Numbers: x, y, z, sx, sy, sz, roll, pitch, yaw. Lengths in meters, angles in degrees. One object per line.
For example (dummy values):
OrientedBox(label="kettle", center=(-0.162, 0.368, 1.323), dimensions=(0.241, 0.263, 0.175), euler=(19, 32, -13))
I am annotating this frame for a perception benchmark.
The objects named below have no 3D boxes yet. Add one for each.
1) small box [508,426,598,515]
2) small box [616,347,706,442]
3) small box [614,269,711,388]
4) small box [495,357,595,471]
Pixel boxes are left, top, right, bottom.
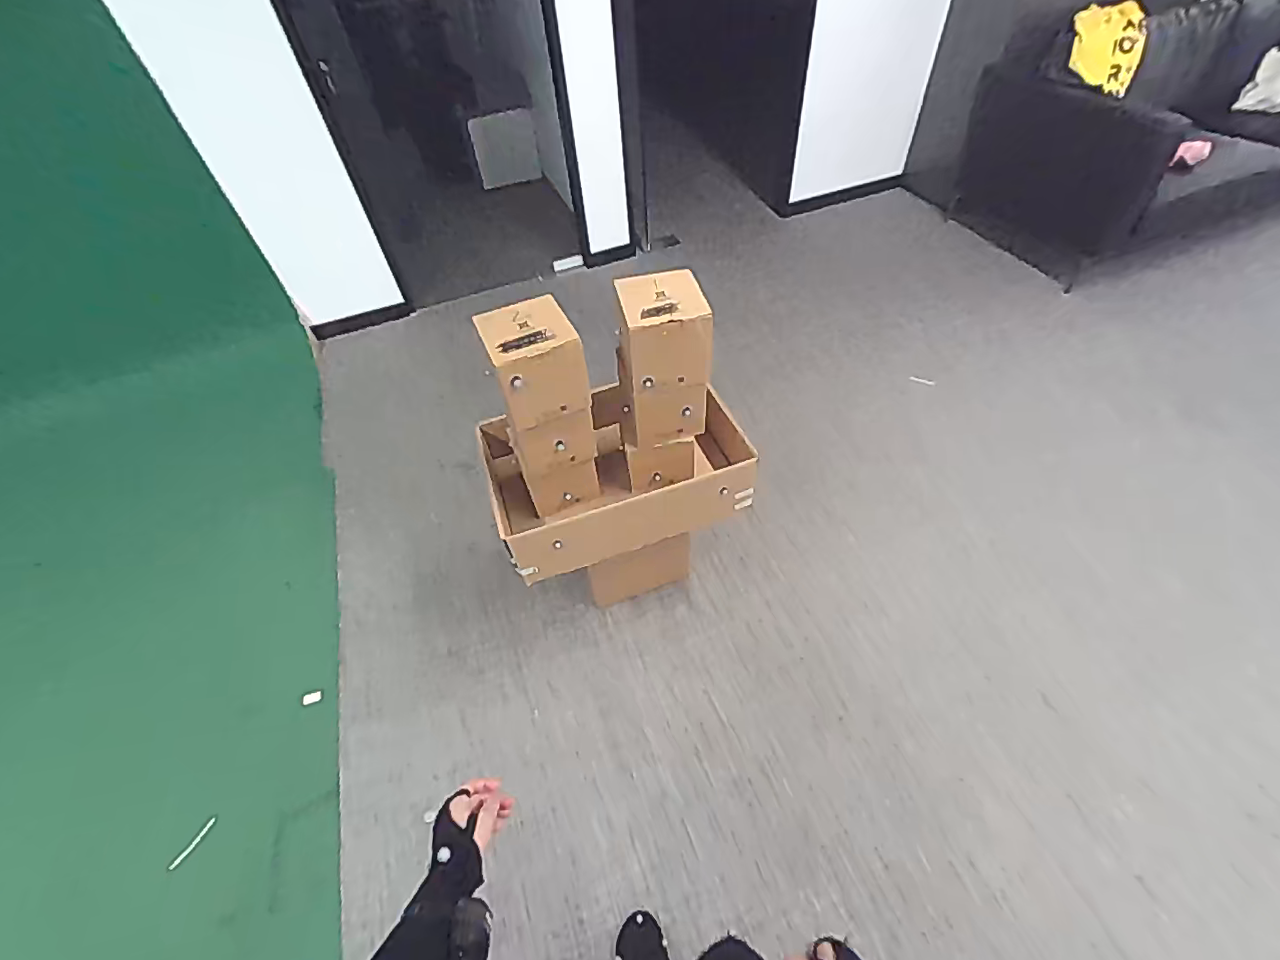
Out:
OrientedBox(label="small box", center=(-0.213, -0.044, 1.344), dimensions=(0.168, 0.176, 0.179), euler=(-20, 52, -12))
OrientedBox(label="small box", center=(0.048, -0.205, 1.250), dimensions=(0.168, 0.176, 0.179), euler=(-13, 51, -7))
OrientedBox(label="small box", center=(0.045, -0.308, 1.123), dimensions=(0.168, 0.176, 0.179), euler=(-10, 50, -5))
OrientedBox(label="small box", center=(-0.208, -0.140, 1.211), dimensions=(0.168, 0.176, 0.179), euler=(-19, 52, -13))
